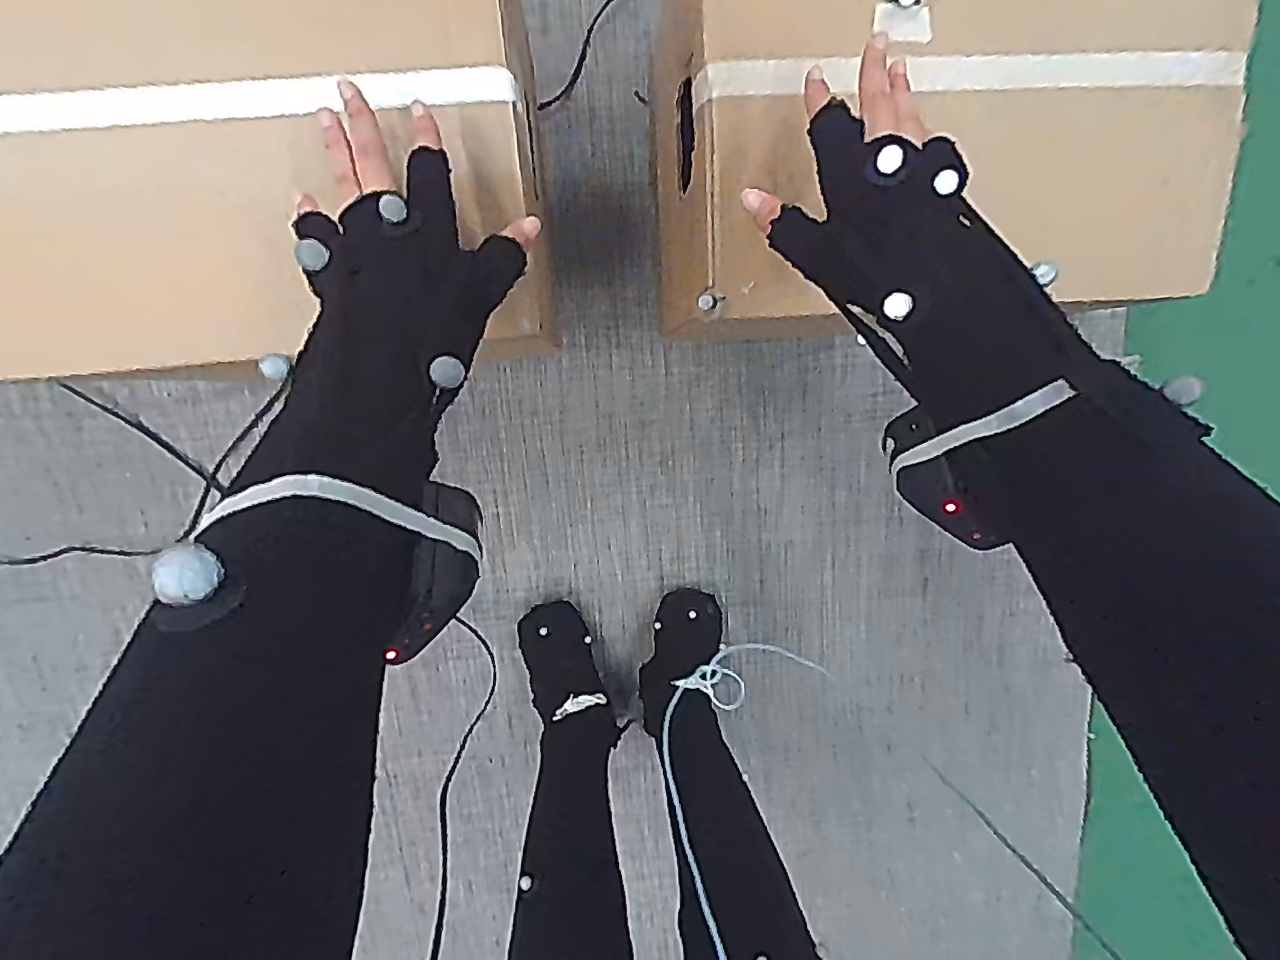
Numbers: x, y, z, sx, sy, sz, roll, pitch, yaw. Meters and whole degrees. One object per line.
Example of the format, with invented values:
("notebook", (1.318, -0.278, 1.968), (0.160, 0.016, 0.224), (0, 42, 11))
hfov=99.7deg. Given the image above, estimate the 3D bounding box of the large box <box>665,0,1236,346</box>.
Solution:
("large box", (0.246, -0.309, 0.559), (0.408, 0.320, 0.320), (-3, 101, -4))
